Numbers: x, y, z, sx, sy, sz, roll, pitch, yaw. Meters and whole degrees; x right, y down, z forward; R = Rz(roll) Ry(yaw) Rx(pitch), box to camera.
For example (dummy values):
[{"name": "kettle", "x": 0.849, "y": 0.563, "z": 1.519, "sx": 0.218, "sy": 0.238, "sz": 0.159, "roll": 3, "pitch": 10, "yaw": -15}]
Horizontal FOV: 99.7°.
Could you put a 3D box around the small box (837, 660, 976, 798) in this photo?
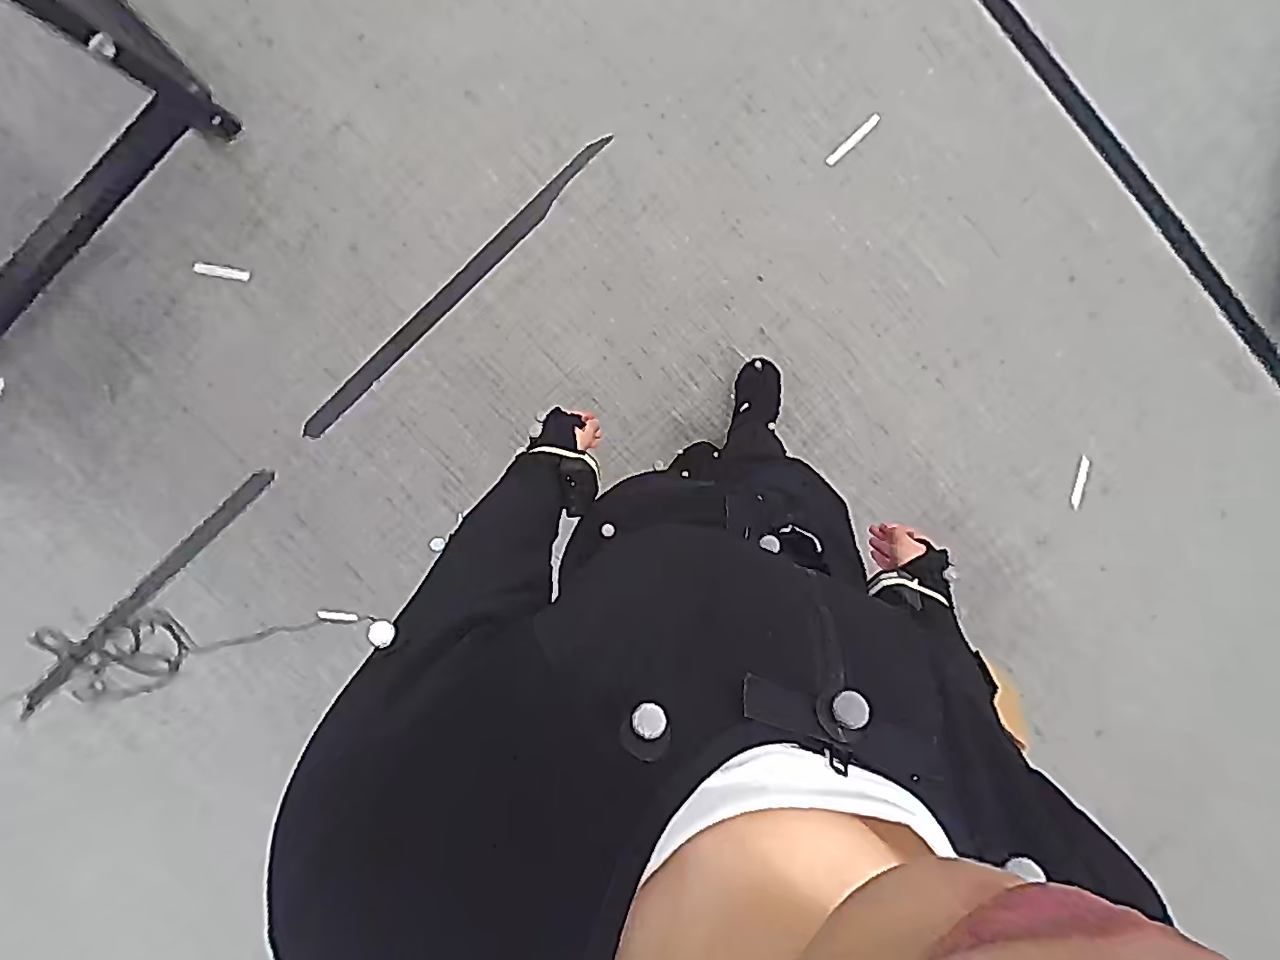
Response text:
[{"name": "small box", "x": 0.567, "y": 0.531, "z": 1.175, "sx": 0.179, "sy": 0.176, "sz": 0.168, "roll": 44, "pitch": 96, "yaw": -4}]
